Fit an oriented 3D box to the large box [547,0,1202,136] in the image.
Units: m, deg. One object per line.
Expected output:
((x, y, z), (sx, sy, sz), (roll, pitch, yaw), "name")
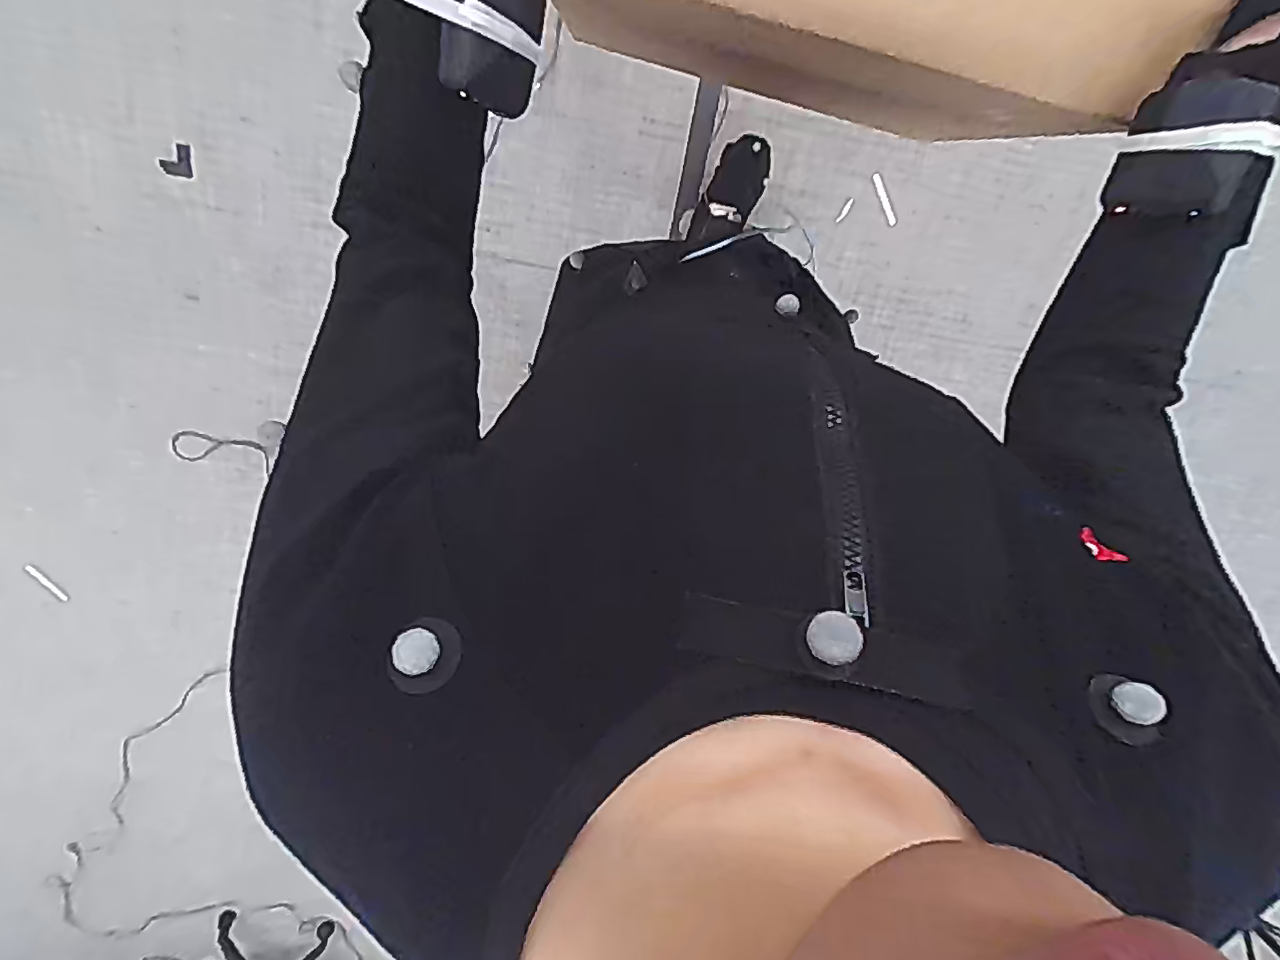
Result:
((0.151, -0.465, 0.378), (0.408, 0.320, 0.320), (10, 122, -7), "large box")
